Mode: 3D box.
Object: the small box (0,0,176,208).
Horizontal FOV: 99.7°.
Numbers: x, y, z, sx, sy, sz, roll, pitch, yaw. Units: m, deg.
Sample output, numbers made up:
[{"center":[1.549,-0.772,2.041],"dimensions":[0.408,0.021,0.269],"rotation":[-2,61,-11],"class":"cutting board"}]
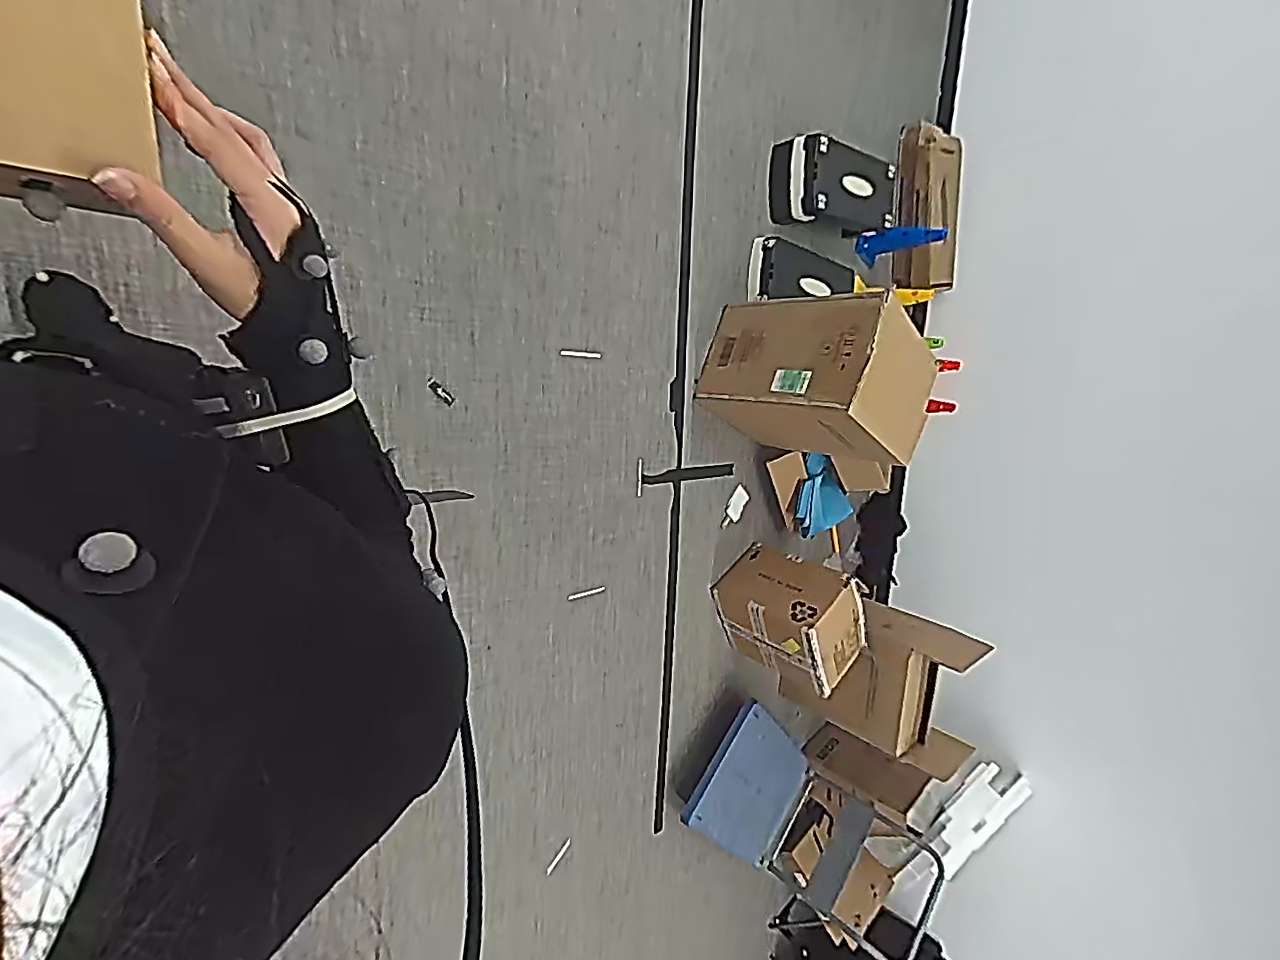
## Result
[{"center":[-0.343,-0.235,0.249],"dimensions":[0.179,0.176,0.168],"rotation":[-7,110,-42],"class":"small box"}]
